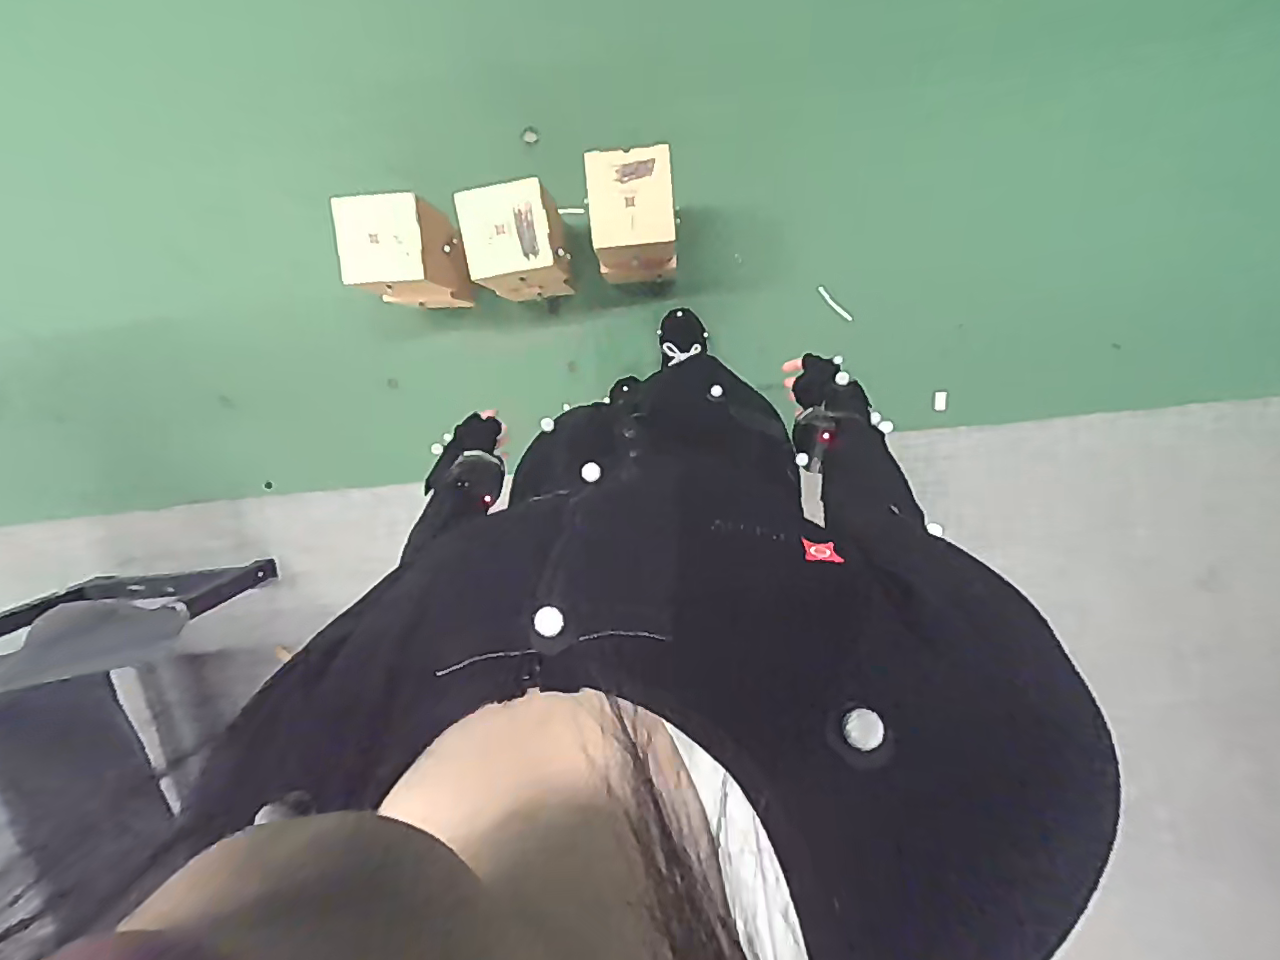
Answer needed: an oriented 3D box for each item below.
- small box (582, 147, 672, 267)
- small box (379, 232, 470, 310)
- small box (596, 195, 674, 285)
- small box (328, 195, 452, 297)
[{"bbox_3d":[-0.023,-0.558,1.122,0.168,0.176,0.179,-4,100,3],"label":"small box"},{"bbox_3d":[-0.526,-0.513,1.322,0.168,0.176,0.179,-1,101,3],"label":"small box"},{"bbox_3d":[-0.013,-0.565,1.286,0.179,0.176,0.168,-3,101,3],"label":"small box"},{"bbox_3d":[-0.526,-0.492,1.158,0.179,0.176,0.168,-2,101,3],"label":"small box"}]
